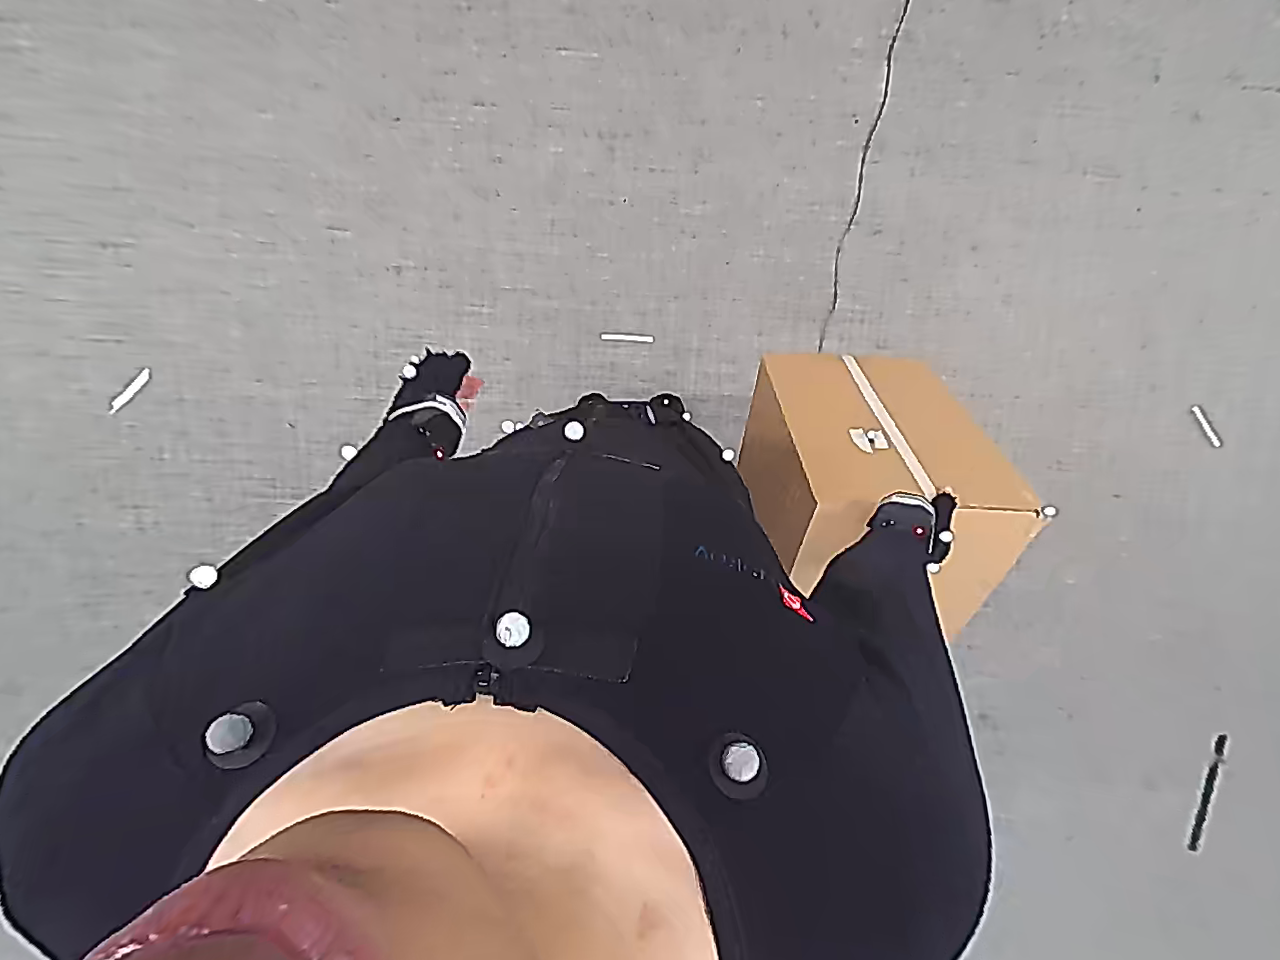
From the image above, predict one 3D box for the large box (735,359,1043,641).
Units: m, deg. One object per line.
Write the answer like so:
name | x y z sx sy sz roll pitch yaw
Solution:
large box | 0.375 0.026 0.961 0.320 0.408 0.320 2 132 -3
